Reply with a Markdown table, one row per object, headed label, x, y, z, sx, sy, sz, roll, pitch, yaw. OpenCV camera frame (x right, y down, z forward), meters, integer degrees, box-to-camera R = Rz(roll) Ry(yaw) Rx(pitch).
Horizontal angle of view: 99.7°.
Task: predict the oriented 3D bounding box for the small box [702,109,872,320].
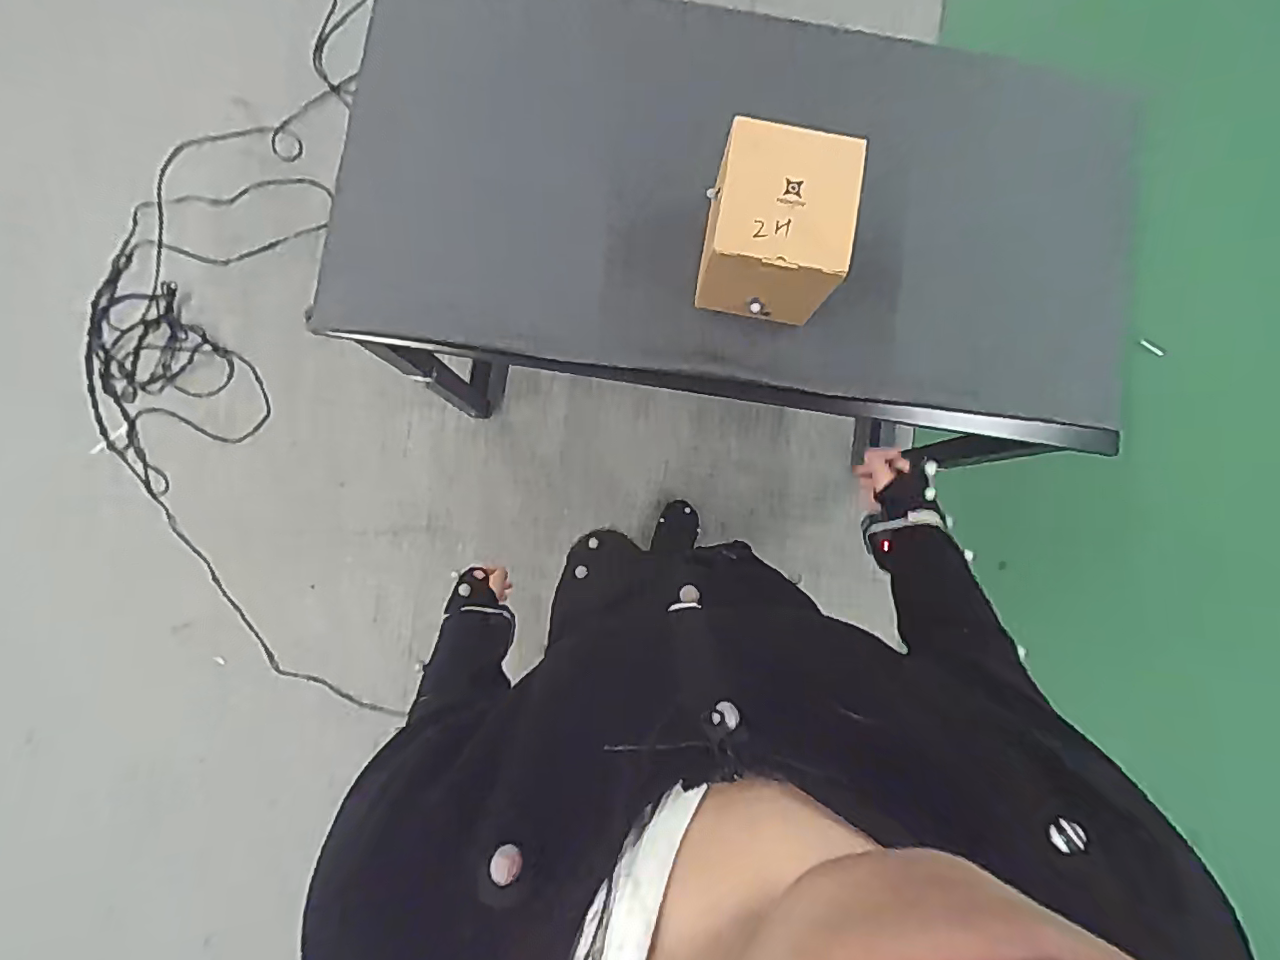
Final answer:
| label | x | y | z | sx | sy | sz | roll | pitch | yaw |
| --- | --- | --- | --- | --- | --- | --- | --- | --- | --- |
| small box | 0.183 | -0.339 | 0.720 | 0.168 | 0.176 | 0.179 | 10 | 85 | 0 |
